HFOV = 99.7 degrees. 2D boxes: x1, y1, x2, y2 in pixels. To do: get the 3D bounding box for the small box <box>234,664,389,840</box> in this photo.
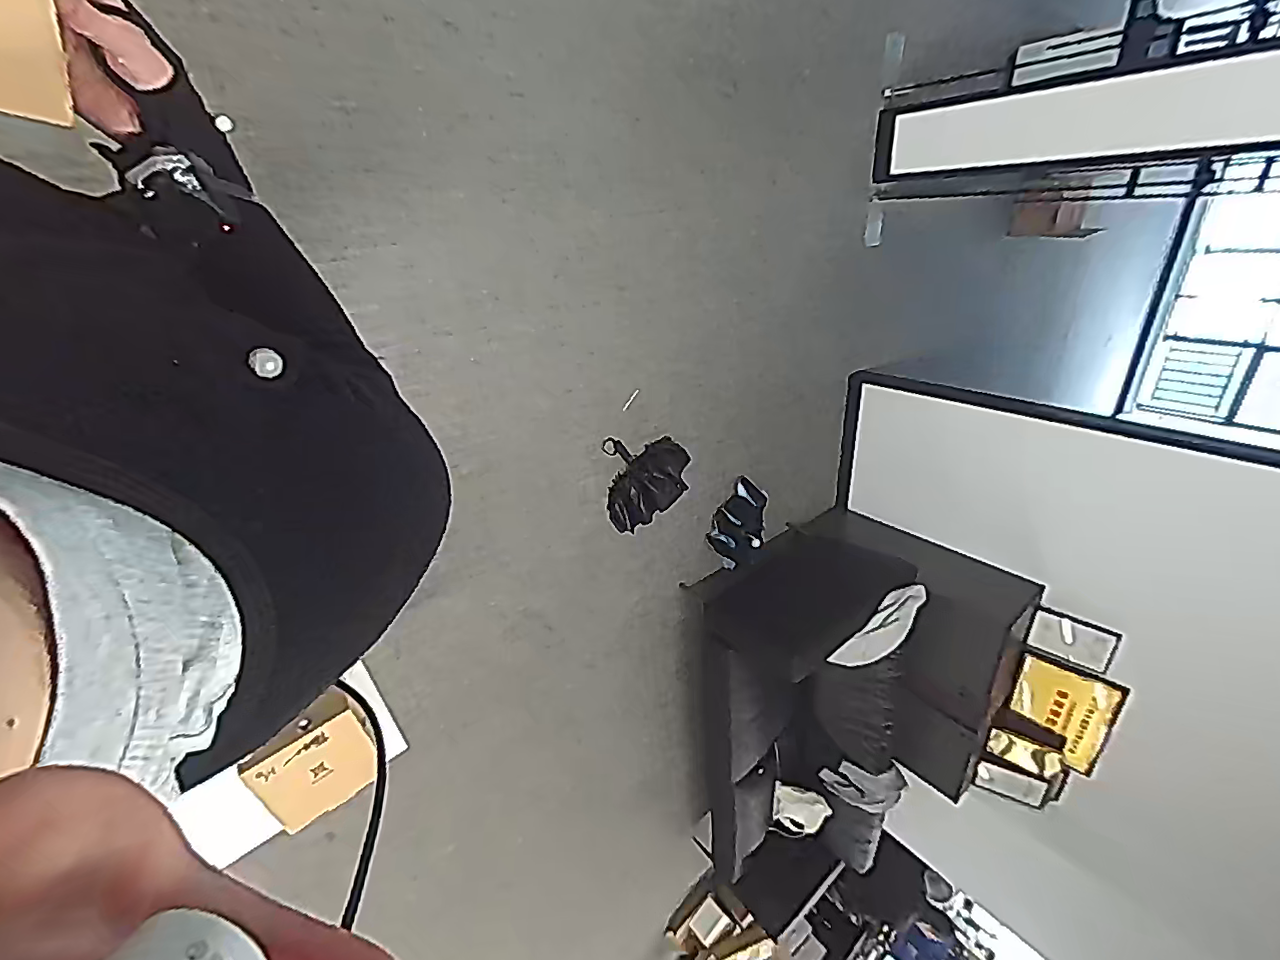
[{"bbox_3d":[-0.568,0.460,0.938,0.168,0.176,0.179,-28,126,-29],"label":"small box"}]
